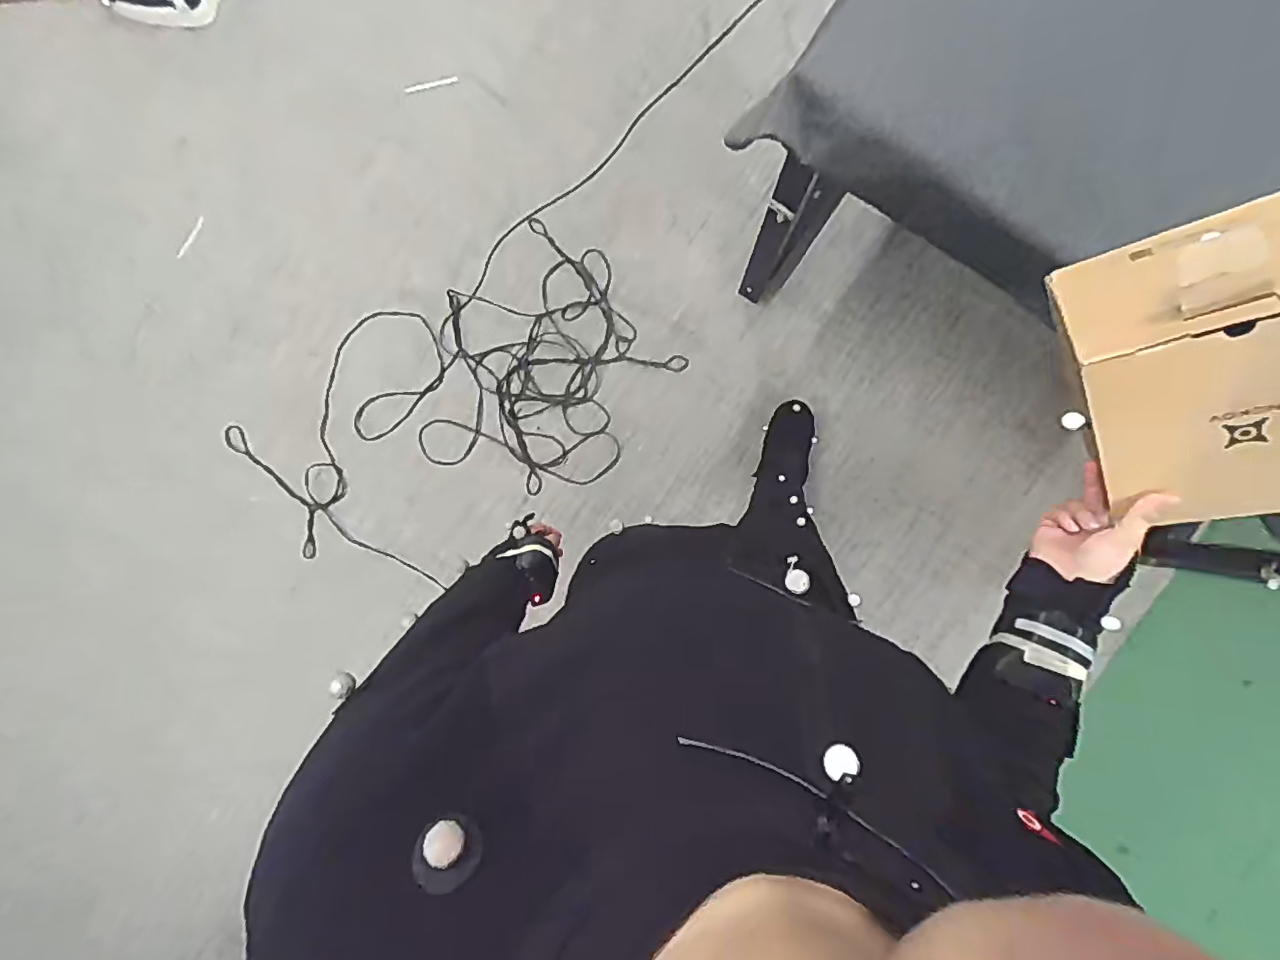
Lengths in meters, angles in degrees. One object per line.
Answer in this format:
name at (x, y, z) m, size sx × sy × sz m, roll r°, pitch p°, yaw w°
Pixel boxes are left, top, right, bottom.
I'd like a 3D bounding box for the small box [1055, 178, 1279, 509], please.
small box at (0.461, -0.105, 0.436) m, size 0.168 × 0.176 × 0.179 m, roll -15°, pitch 122°, yaw 37°
